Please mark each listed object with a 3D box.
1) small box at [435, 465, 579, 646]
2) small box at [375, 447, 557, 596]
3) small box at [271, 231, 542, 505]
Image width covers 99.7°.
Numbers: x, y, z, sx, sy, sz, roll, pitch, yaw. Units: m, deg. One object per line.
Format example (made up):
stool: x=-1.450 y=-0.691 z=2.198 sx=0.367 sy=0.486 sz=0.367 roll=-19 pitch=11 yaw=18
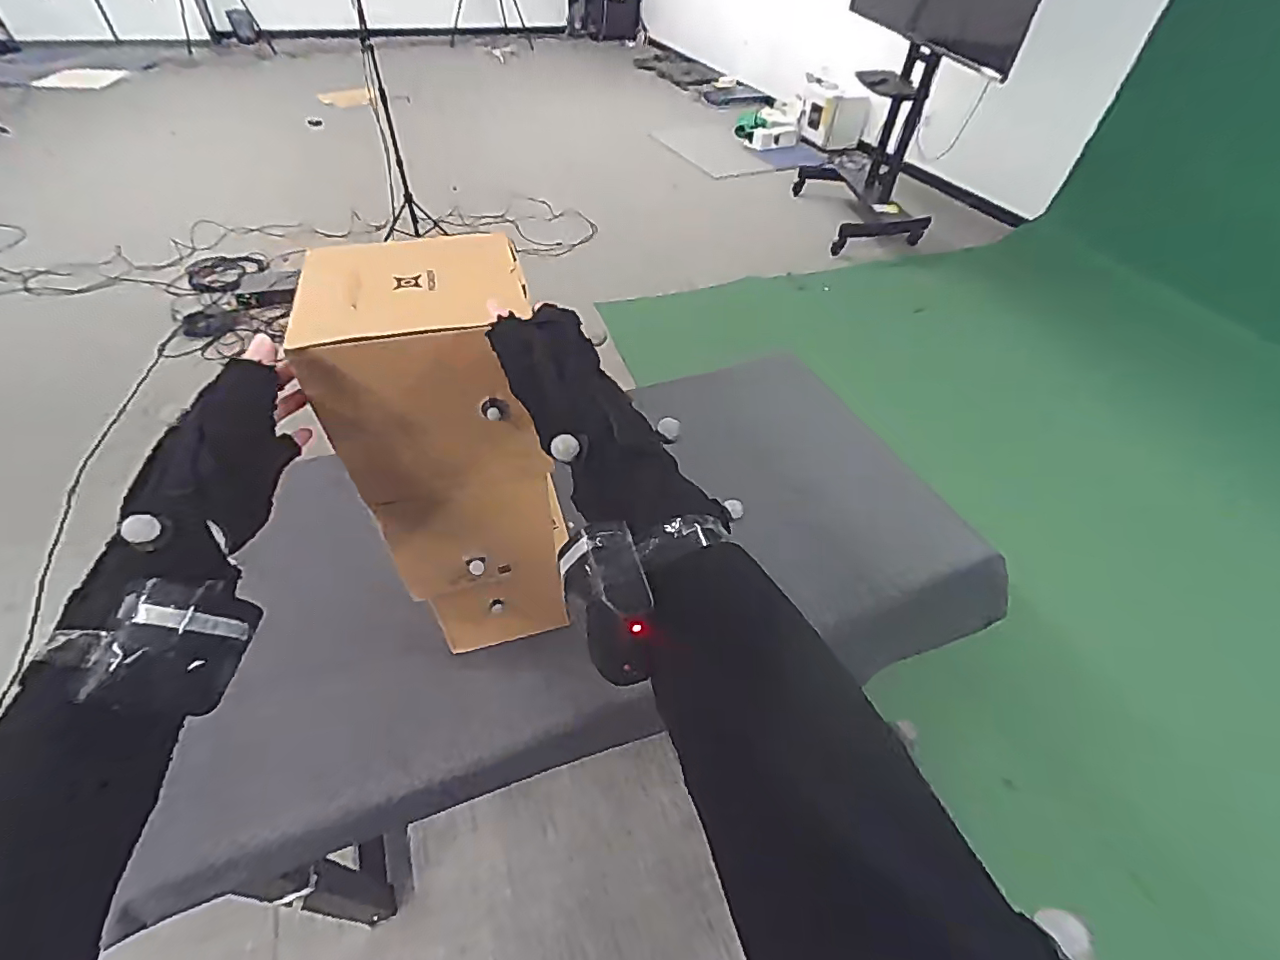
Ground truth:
small box: x=-0.190 y=0.106 z=0.747 sx=0.179 sy=0.176 sz=0.168 roll=-12 pitch=49 yaw=-13
small box: x=-0.200 y=0.001 z=0.620 sx=0.168 sy=0.176 sz=0.179 roll=-16 pitch=48 yaw=-16
small box: x=-0.191 y=-0.102 z=0.494 sx=0.179 sy=0.176 sz=0.168 roll=-13 pitch=47 yaw=-11
